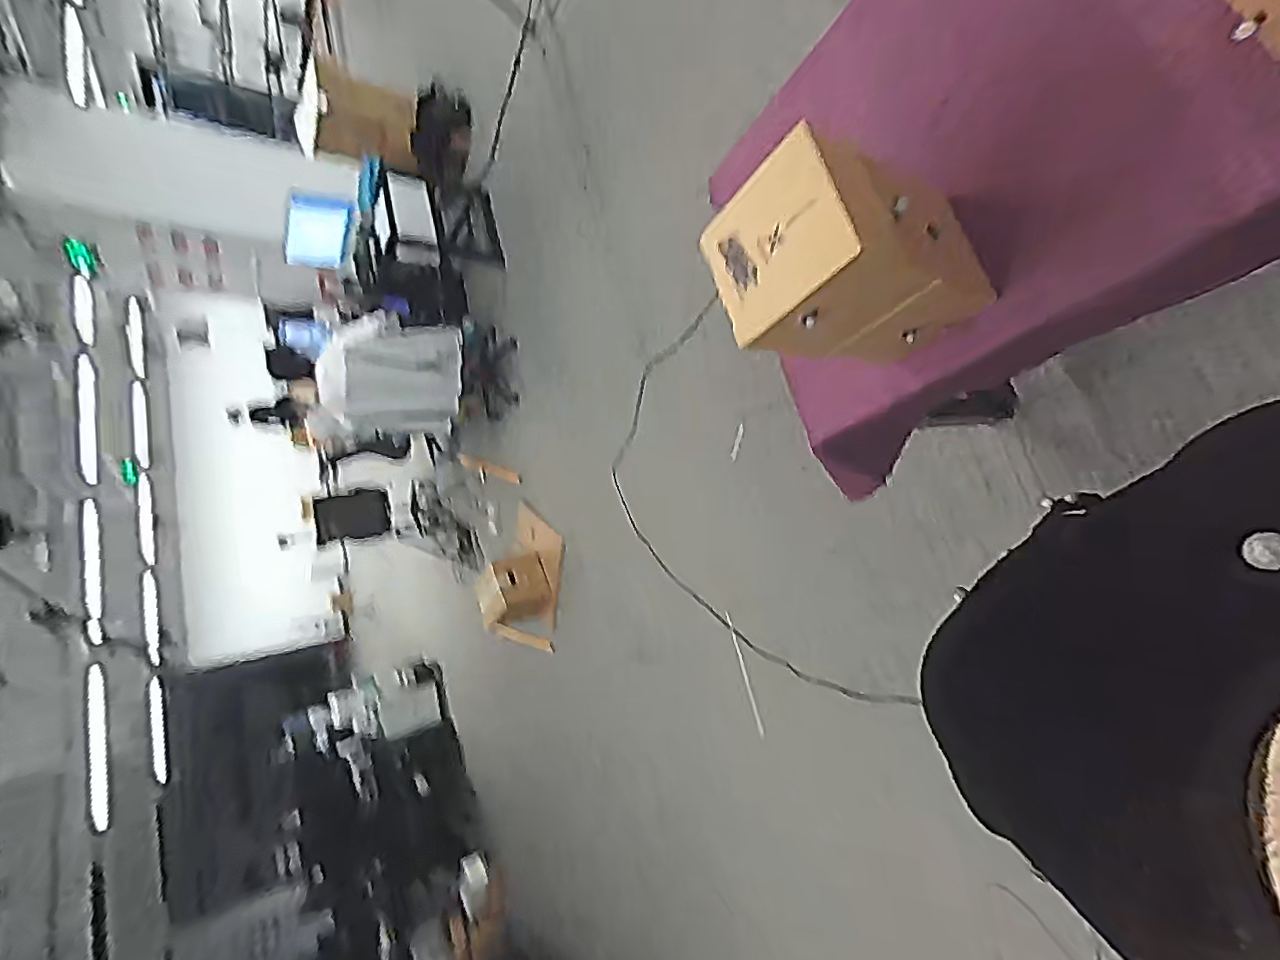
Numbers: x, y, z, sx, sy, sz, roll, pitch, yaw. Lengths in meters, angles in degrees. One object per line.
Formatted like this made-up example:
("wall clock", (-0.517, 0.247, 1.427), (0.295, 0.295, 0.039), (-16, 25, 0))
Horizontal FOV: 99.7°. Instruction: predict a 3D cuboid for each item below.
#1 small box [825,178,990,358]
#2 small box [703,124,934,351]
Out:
("small box", (0.344, -0.285, 0.752), (0.168, 0.176, 0.179), (-34, 67, 49))
("small box", (0.211, -0.272, 0.655), (0.179, 0.176, 0.168), (-35, 67, 49))
